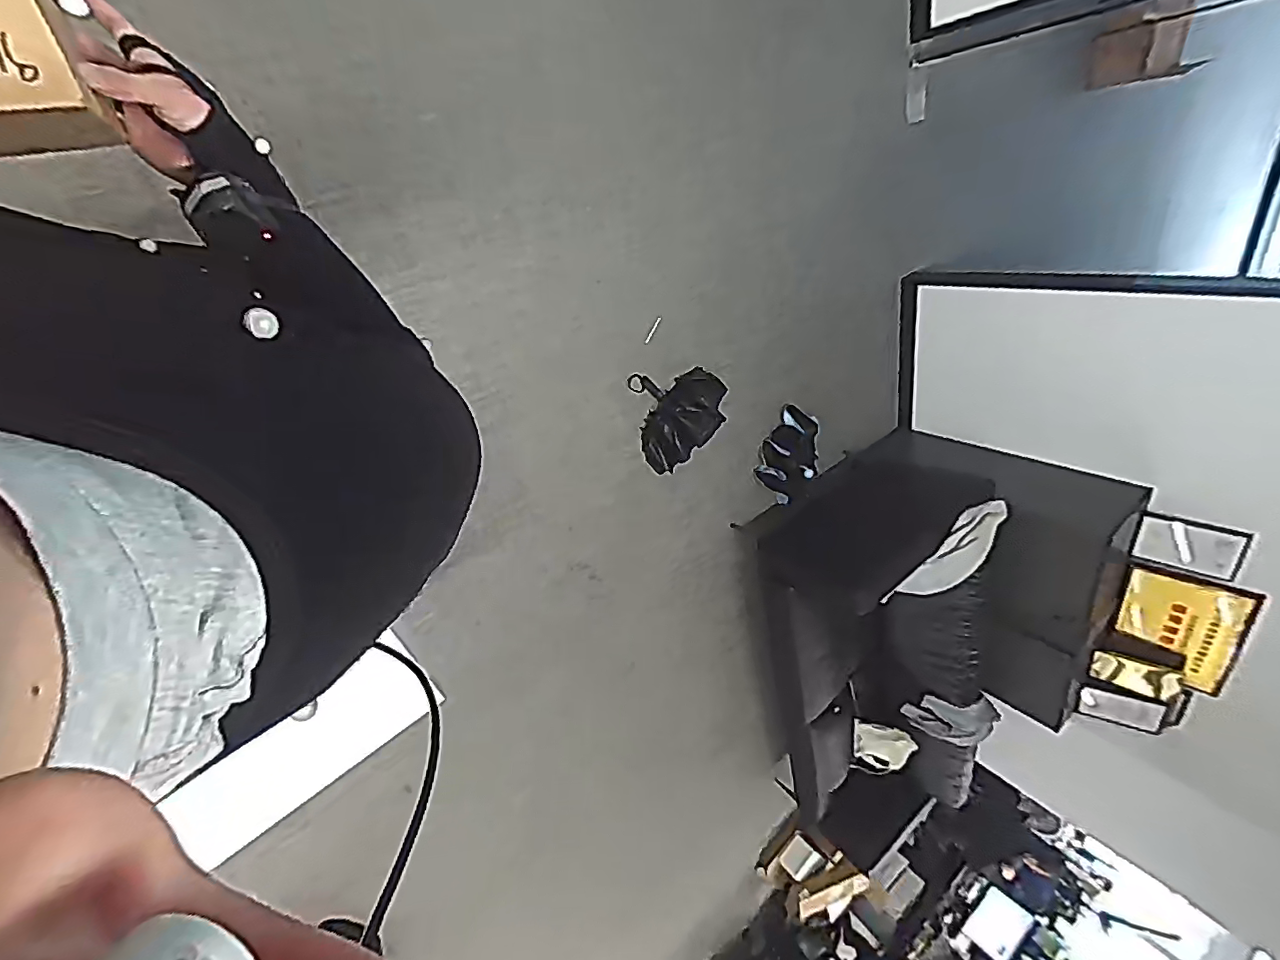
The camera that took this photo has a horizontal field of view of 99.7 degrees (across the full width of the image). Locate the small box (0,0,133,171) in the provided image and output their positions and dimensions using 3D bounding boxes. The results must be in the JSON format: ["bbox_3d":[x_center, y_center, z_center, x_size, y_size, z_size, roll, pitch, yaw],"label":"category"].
[{"bbox_3d":[-0.482,-0.309,0.346,0.168,0.176,0.179,-26,122,-25],"label":"small box"}]
